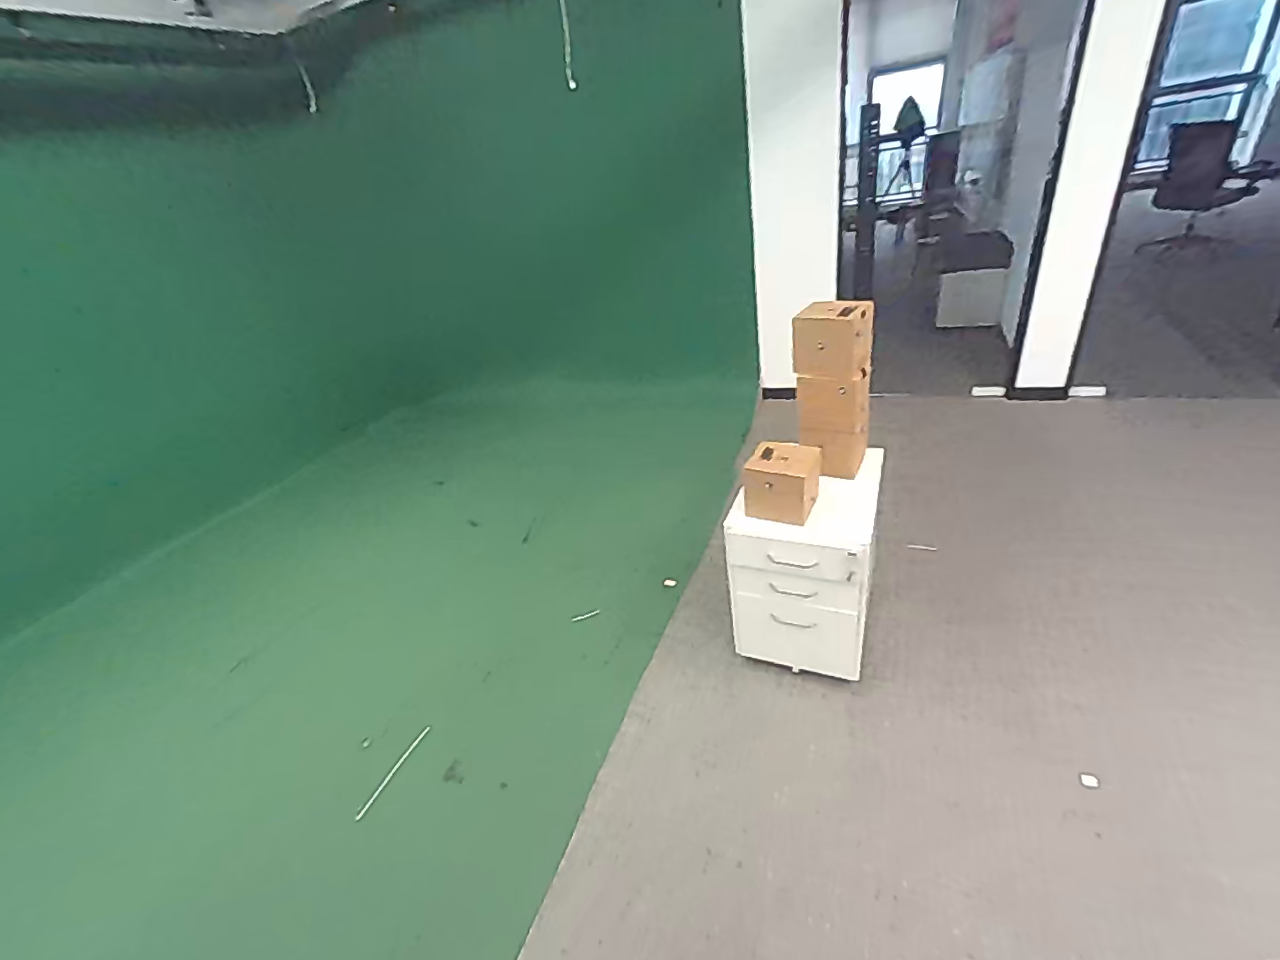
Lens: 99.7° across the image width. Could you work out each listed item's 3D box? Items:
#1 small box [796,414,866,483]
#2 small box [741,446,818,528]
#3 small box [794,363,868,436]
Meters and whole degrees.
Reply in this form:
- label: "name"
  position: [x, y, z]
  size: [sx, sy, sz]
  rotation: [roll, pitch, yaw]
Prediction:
- label: "small box"
  position: [0.606, -0.108, 1.715]
  size: [0.179, 0.176, 0.168]
  rotation: [10, 37, 31]
- label: "small box"
  position: [0.405, 0.021, 1.561]
  size: [0.179, 0.176, 0.168]
  rotation: [10, 36, 29]
- label: "small box"
  position: [0.575, -0.244, 1.631]
  size: [0.179, 0.176, 0.168]
  rotation: [10, 37, 30]
